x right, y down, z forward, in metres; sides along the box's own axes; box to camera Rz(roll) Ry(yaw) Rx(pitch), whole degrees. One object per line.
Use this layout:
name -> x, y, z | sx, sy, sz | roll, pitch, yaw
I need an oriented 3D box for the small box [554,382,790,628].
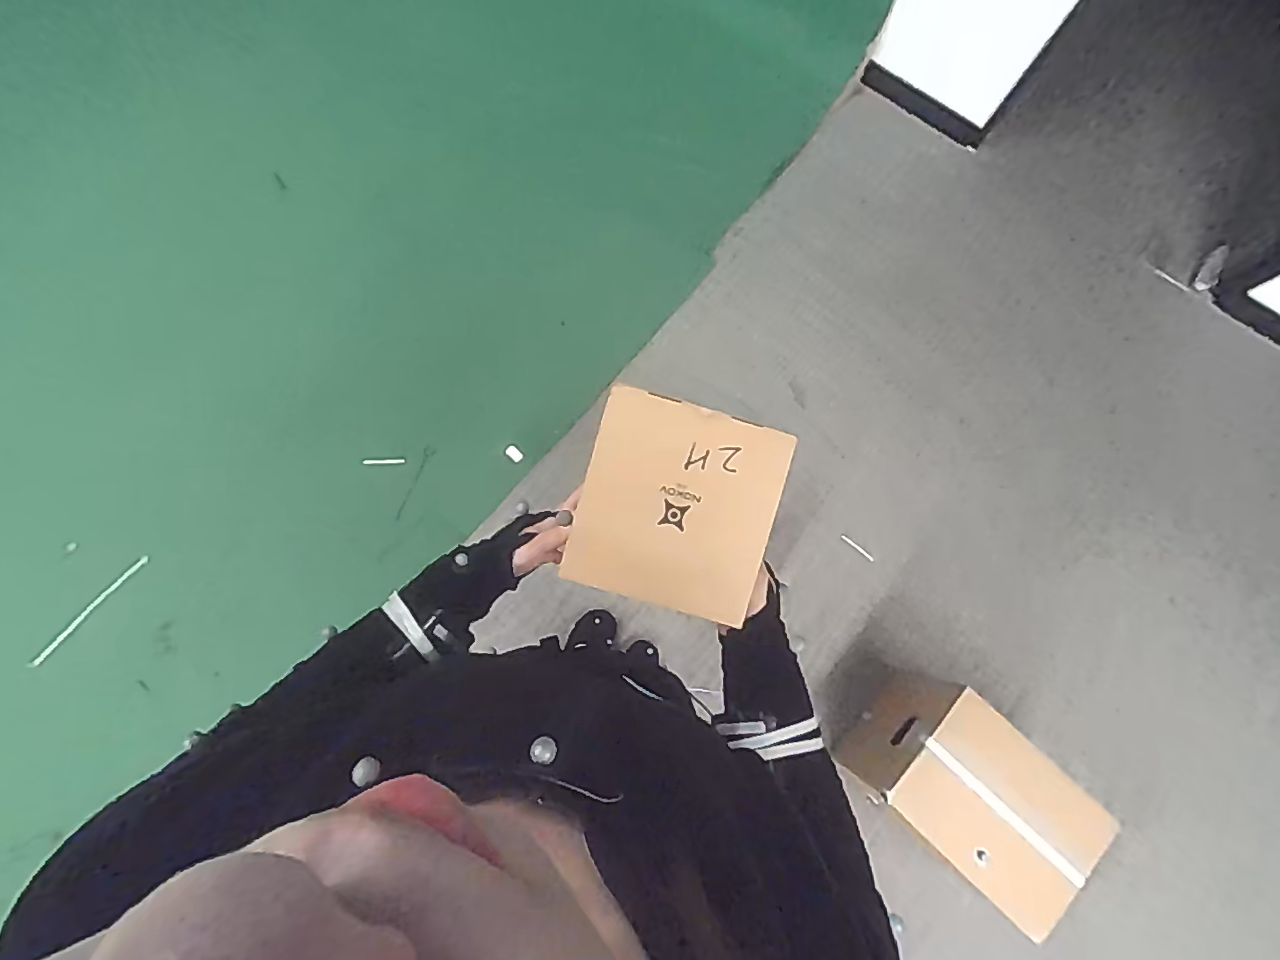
small box -> 0.026, 0.021, 0.541 | 0.168, 0.176, 0.179 | 16, 90, -3
